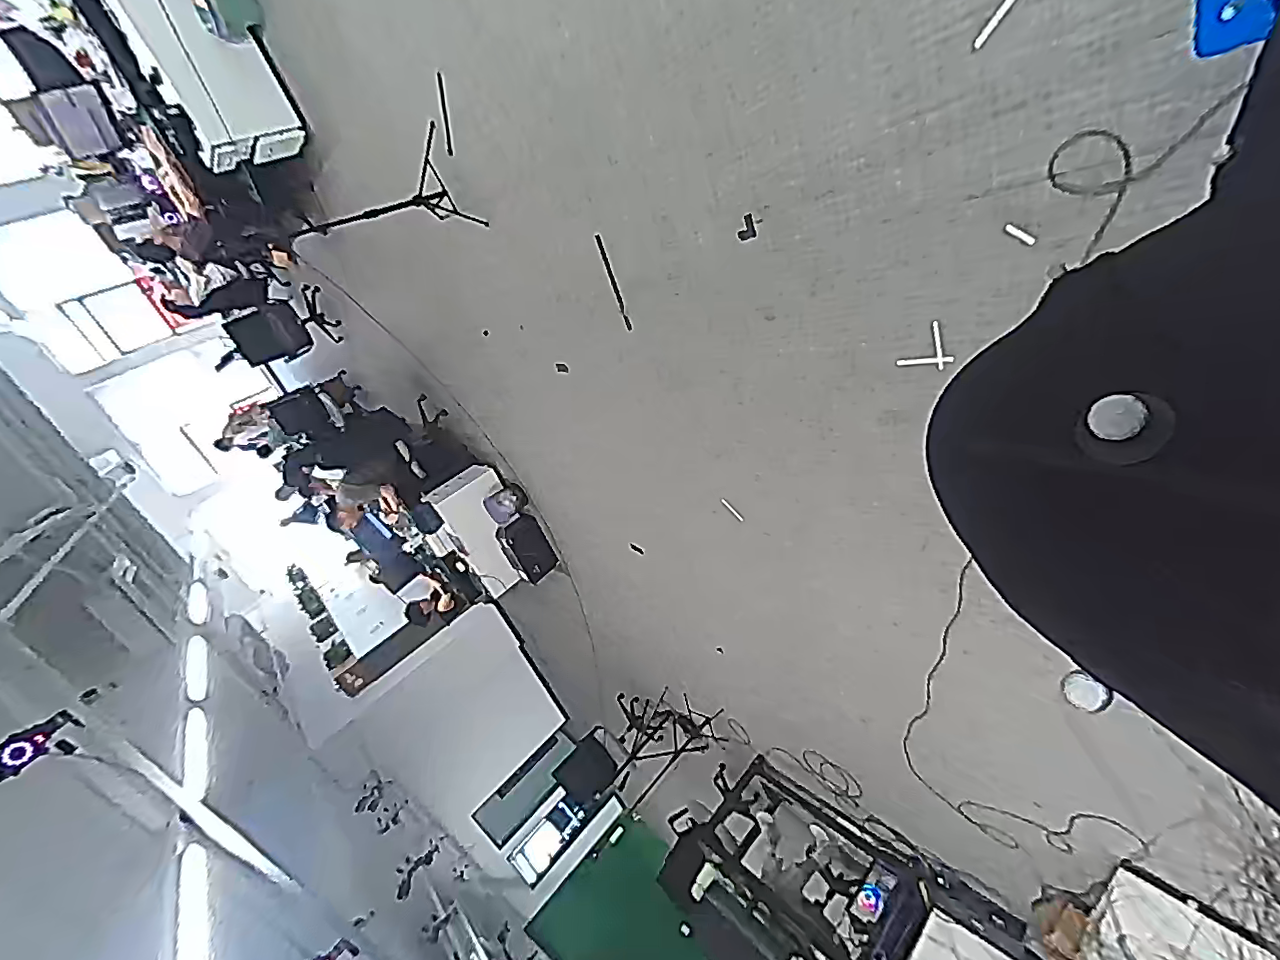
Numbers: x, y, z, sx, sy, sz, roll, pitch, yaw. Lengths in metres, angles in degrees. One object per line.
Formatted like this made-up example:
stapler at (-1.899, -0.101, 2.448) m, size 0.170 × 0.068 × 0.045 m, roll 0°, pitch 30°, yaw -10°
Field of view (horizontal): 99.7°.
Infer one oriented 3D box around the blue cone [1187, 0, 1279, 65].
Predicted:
blue cone at (0.820, -0.652, 0.710) m, size 0.193 × 0.380 × 0.192 m, roll 10°, pitch 131°, yaw 51°
